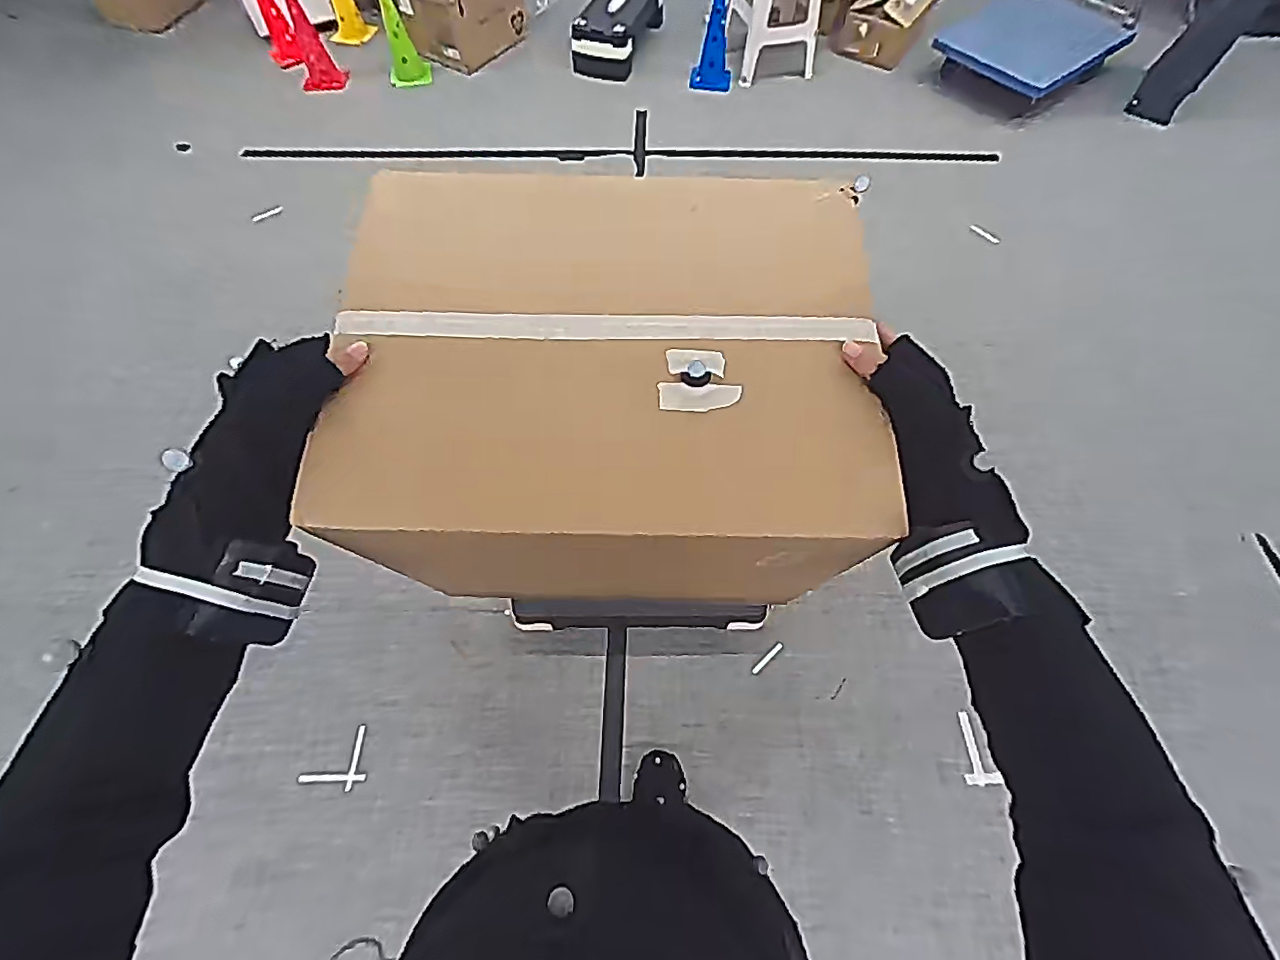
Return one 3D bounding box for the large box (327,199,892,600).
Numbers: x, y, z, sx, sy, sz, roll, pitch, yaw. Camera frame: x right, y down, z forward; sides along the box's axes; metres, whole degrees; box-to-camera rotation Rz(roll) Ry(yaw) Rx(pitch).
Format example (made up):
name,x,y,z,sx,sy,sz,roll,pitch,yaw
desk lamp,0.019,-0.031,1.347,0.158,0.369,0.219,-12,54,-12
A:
name,x,y,z,sx,sy,sz,roll,pitch,yaw
large box,-0.023,-0.053,0.567,0.408,0.320,0.320,1,69,0
